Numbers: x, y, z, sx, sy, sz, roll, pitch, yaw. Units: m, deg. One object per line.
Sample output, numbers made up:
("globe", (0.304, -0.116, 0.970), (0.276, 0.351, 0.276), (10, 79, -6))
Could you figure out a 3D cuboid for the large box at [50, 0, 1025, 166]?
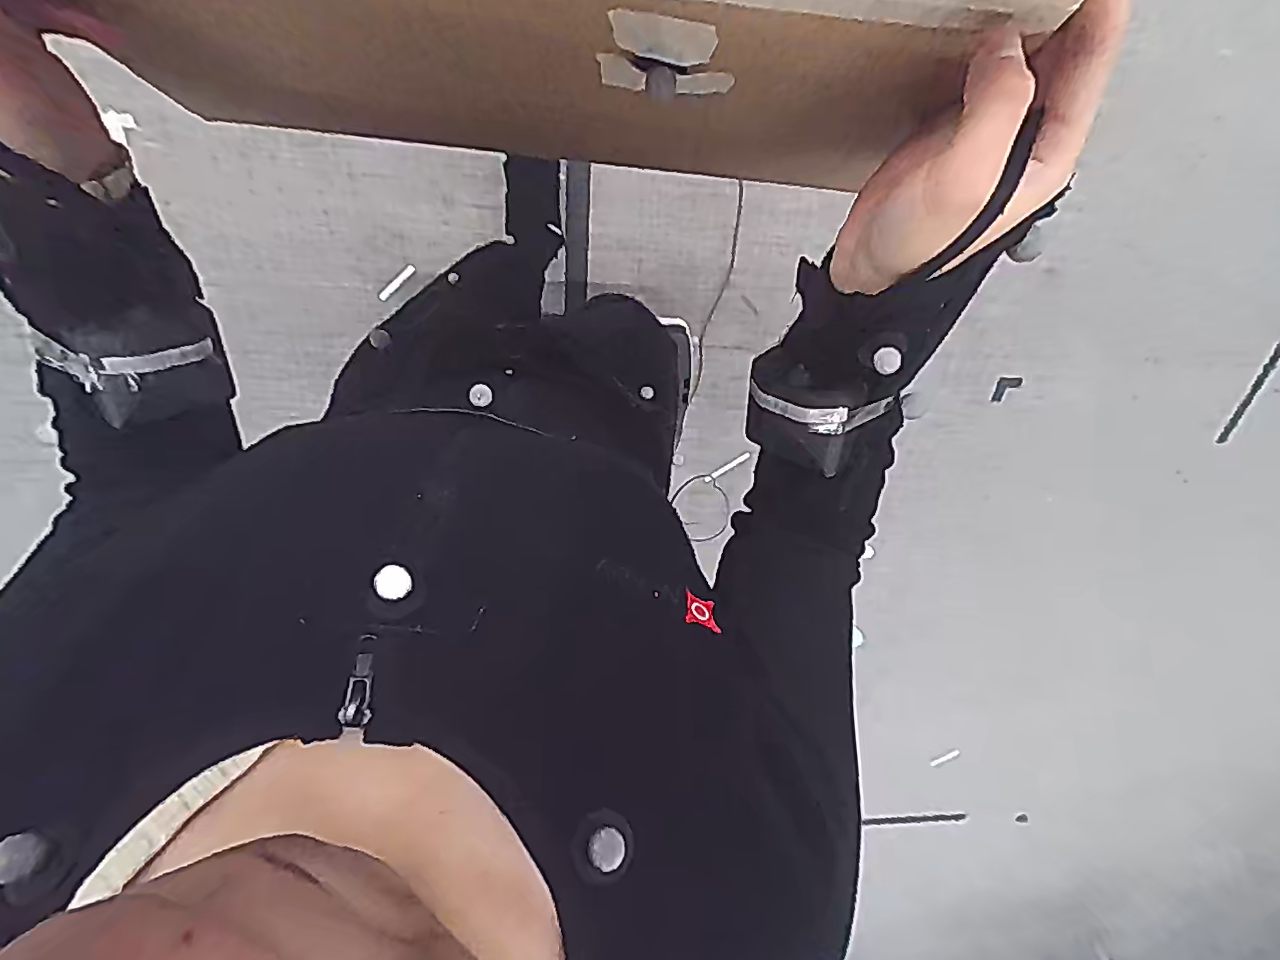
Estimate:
("large box", (-0.046, -0.337, 0.159), (0.408, 0.320, 0.320), (4, 98, -1))
